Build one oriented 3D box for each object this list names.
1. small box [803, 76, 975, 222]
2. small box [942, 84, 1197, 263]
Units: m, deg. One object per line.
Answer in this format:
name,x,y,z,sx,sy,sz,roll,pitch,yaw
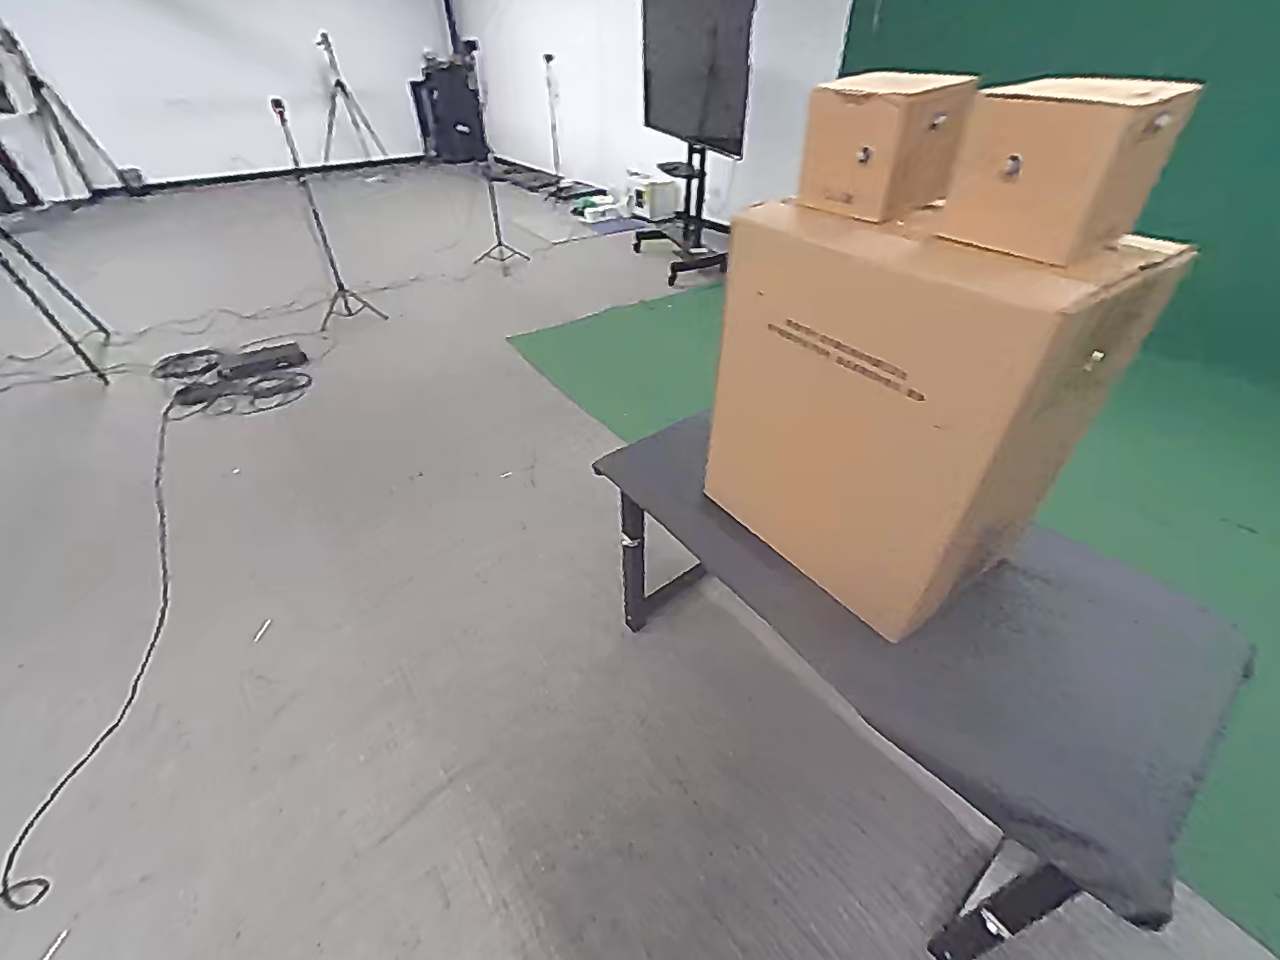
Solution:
small box,0.380,-0.525,0.857,0.179,0.176,0.168,-27,47,-25
small box,0.529,-0.395,0.693,0.168,0.176,0.179,-27,45,-23
